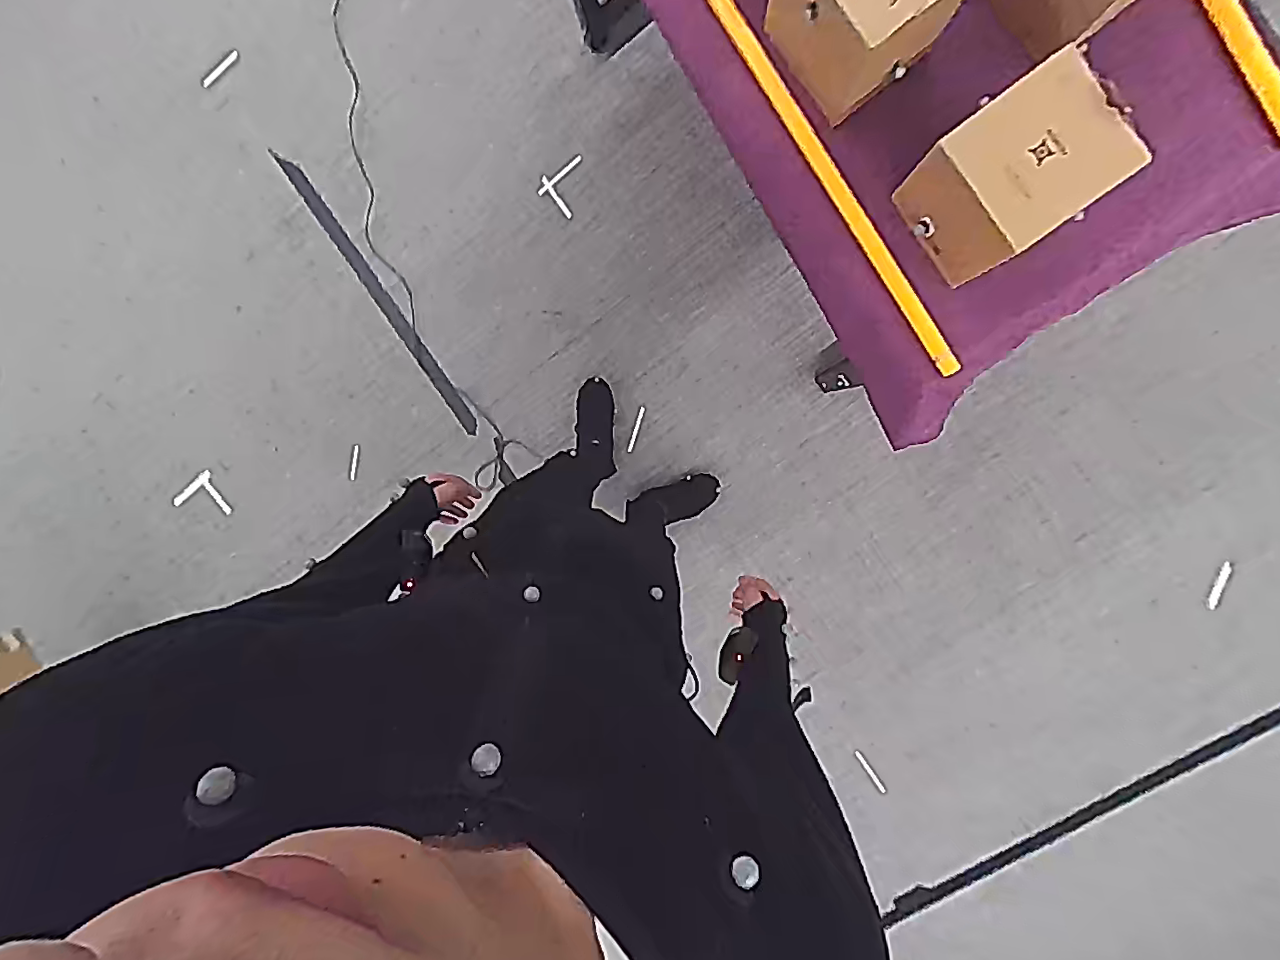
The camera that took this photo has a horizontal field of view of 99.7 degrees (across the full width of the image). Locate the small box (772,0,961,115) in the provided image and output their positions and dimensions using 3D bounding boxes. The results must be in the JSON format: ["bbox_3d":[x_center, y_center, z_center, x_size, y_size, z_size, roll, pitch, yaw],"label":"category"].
[{"bbox_3d":[0.286,-0.620,0.680,0.168,0.176,0.179,-36,92,8],"label":"small box"}]

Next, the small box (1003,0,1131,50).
[{"bbox_3d":[0.561,-0.670,0.644,0.168,0.176,0.179,-37,91,11],"label":"small box"}]

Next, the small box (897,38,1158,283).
[{"bbox_3d":[0.471,-0.386,0.690,0.179,0.176,0.168,-35,91,7],"label":"small box"}]
